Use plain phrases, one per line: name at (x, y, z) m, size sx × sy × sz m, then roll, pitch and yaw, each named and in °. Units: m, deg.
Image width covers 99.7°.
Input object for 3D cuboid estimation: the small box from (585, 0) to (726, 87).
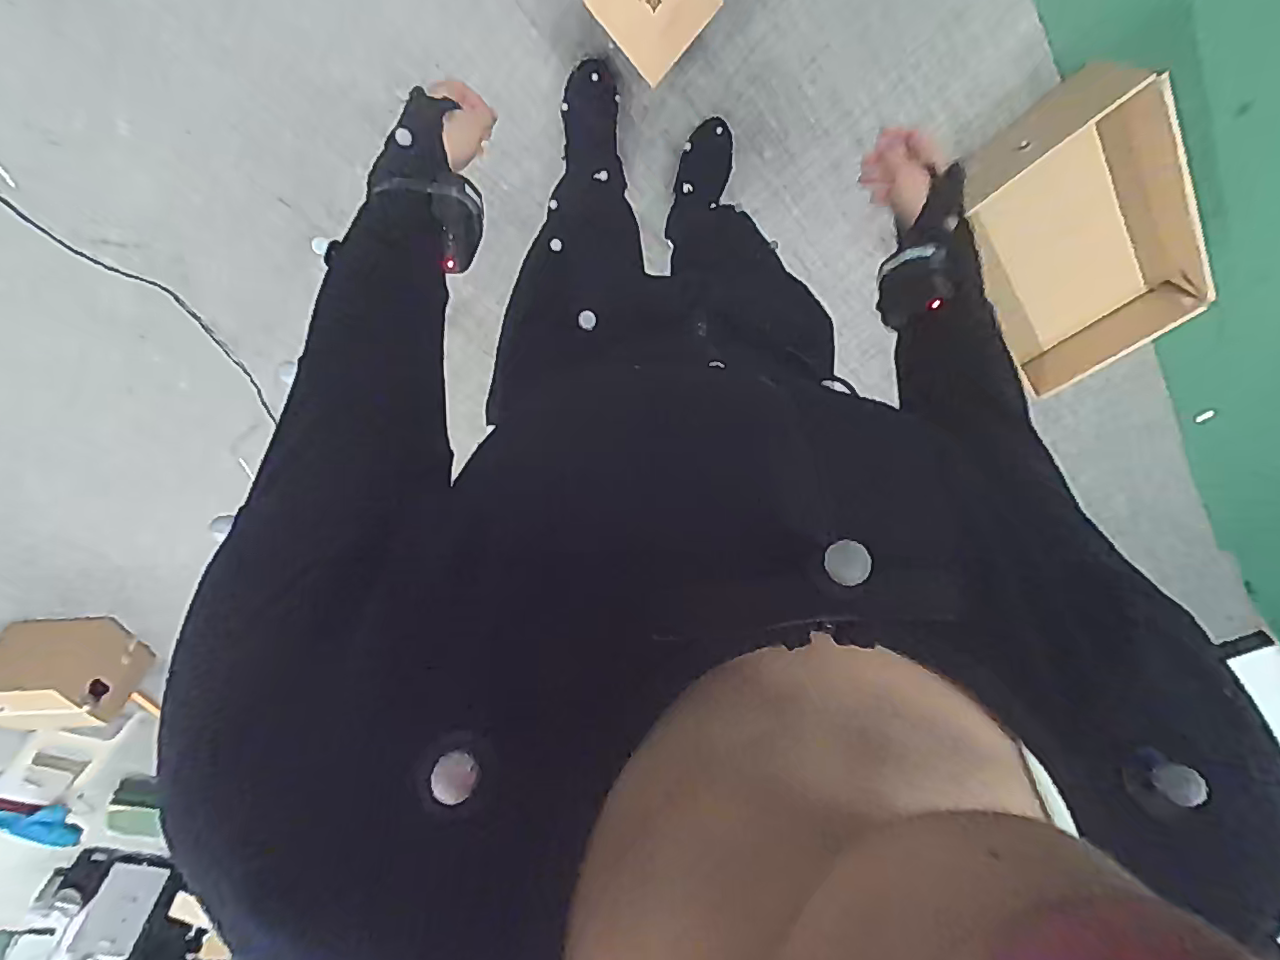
small box at (0.020, -0.827, 0.928) m, size 0.179 × 0.176 × 0.168 m, roll 34°, pitch 124°, yaw -31°
